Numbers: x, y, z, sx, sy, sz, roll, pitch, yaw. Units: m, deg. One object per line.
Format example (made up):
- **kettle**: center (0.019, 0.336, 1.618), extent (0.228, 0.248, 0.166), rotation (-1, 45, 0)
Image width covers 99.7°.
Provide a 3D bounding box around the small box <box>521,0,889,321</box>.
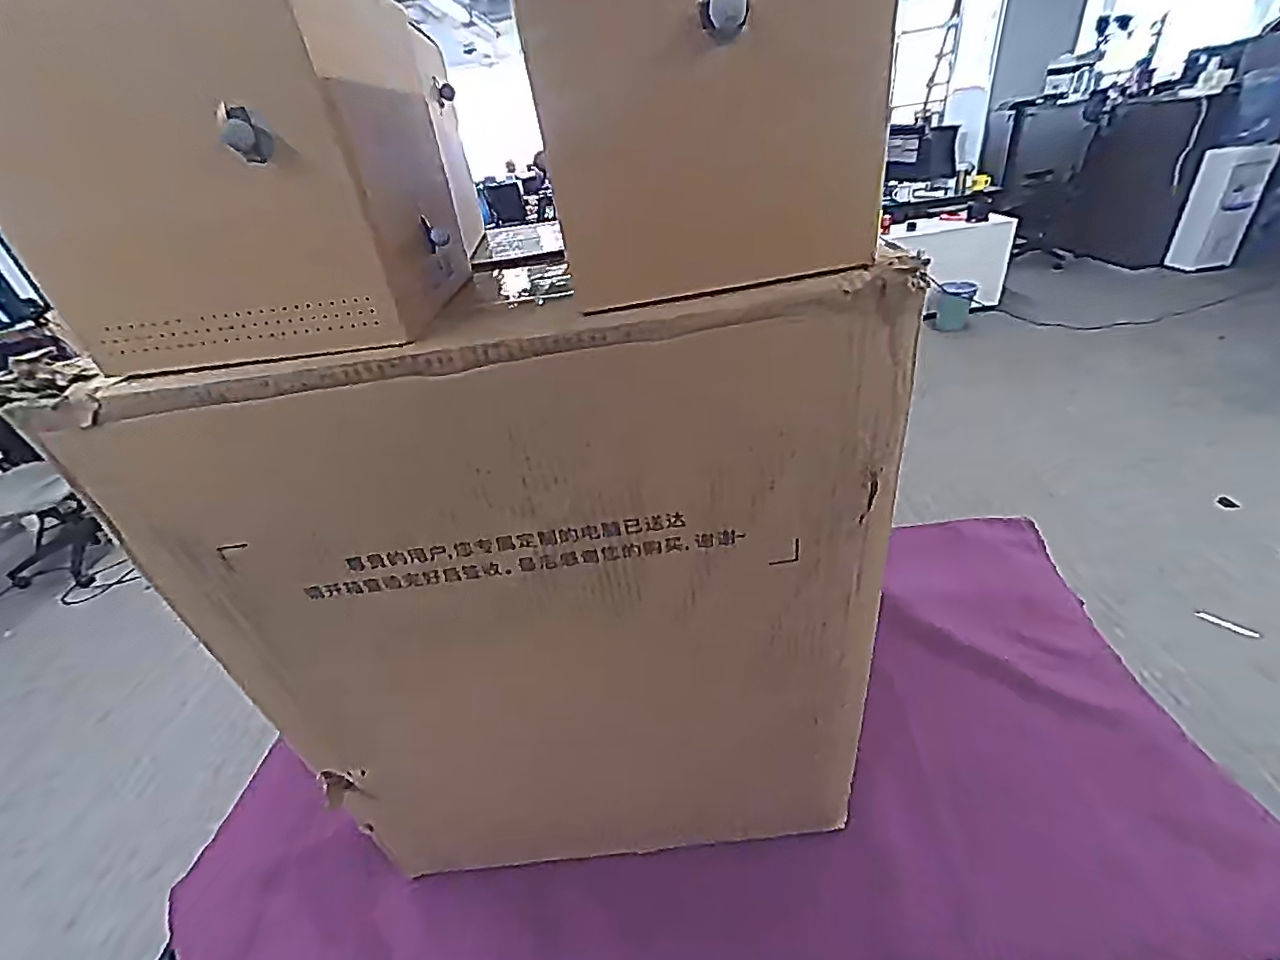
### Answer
- **small box**: center (0.033, -0.213, 0.321), extent (0.168, 0.176, 0.179), rotation (-9, 33, 2)
